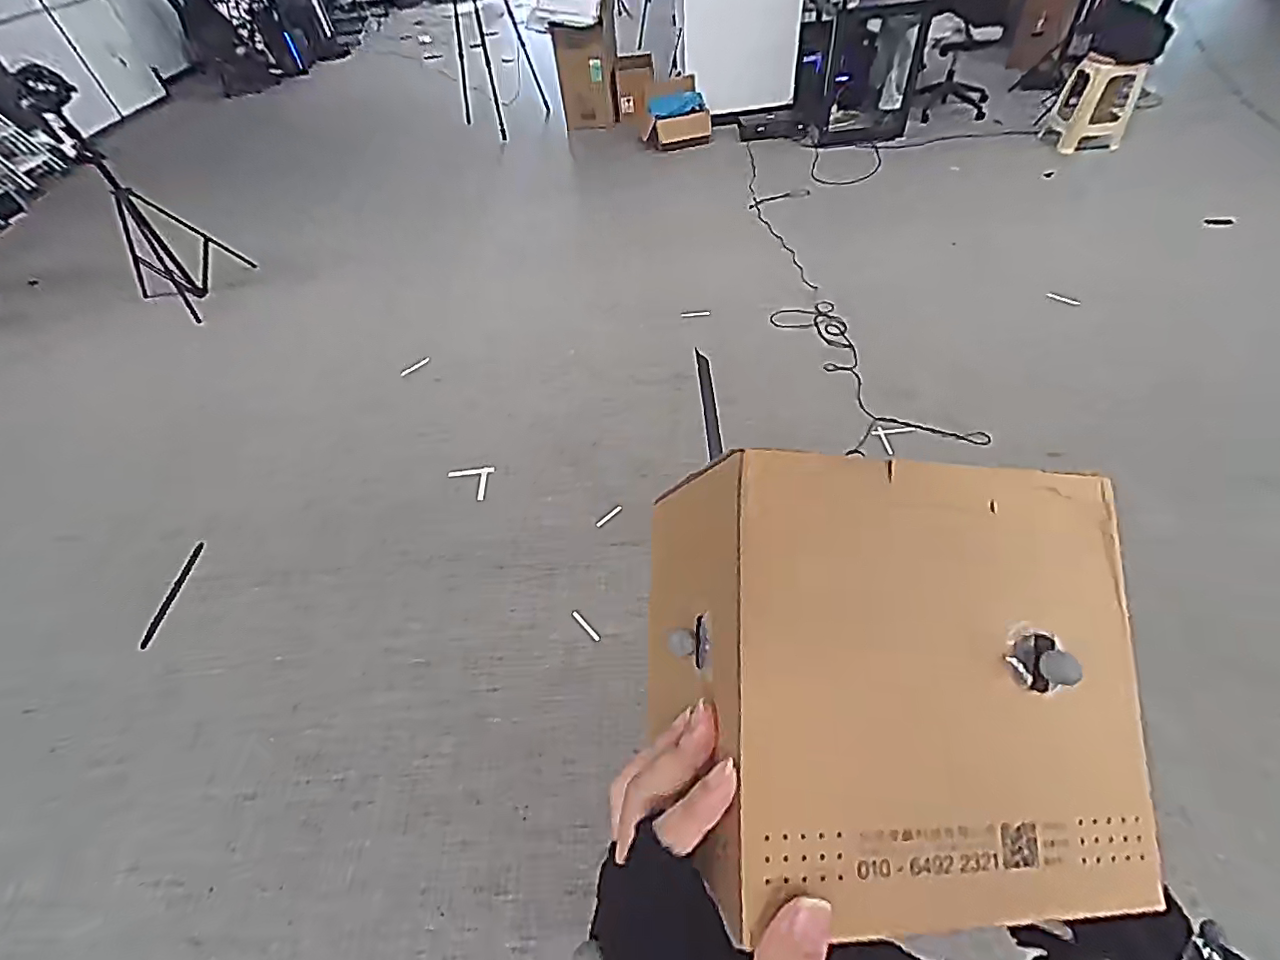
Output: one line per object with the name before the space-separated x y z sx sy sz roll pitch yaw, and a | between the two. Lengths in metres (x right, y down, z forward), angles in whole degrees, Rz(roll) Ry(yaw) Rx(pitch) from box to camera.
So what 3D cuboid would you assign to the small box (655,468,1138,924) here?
small box | 0.103 0.094 0.283 0.168 0.179 0.176 3 80 -9
